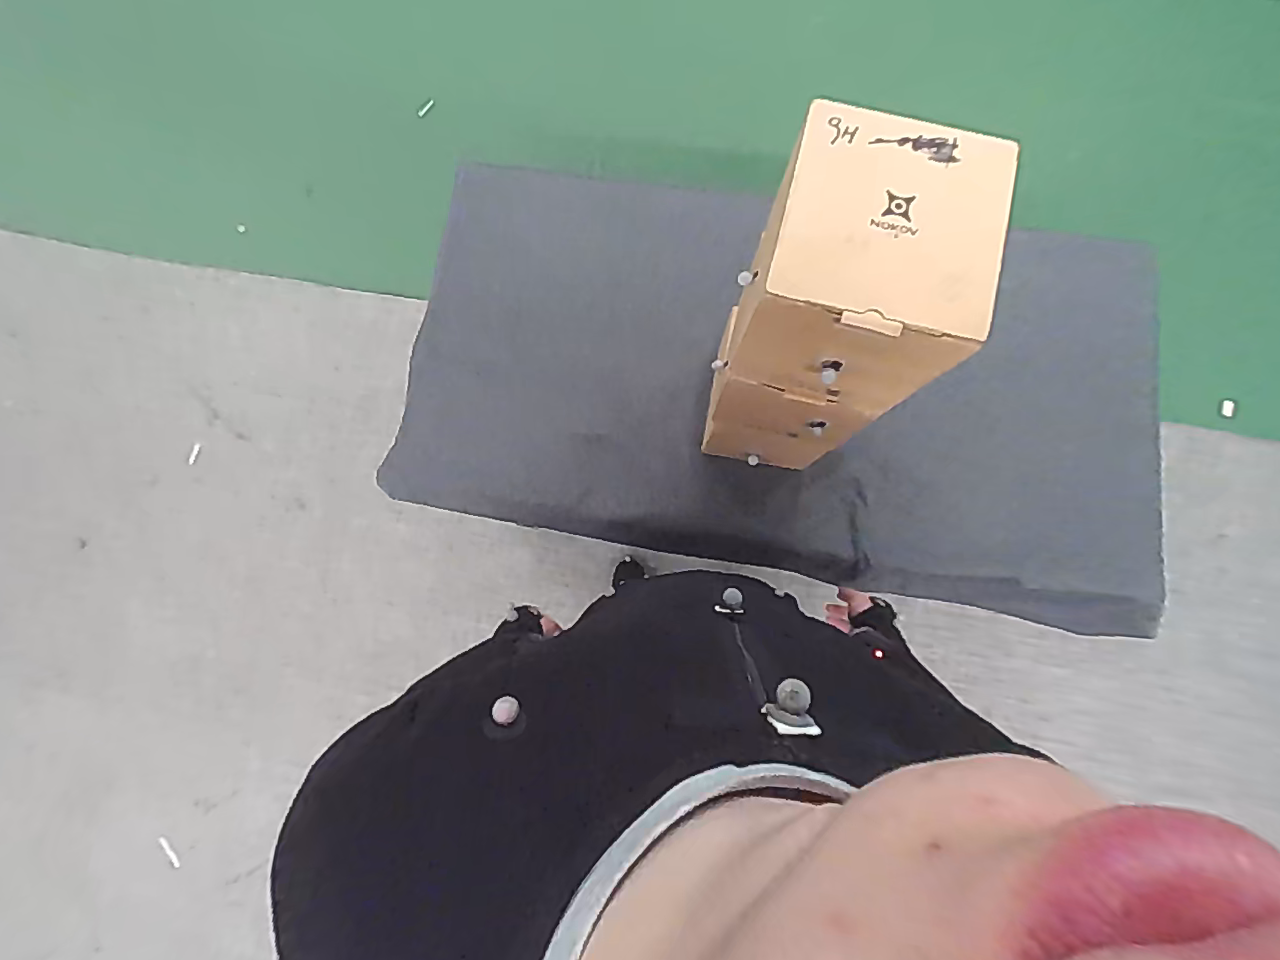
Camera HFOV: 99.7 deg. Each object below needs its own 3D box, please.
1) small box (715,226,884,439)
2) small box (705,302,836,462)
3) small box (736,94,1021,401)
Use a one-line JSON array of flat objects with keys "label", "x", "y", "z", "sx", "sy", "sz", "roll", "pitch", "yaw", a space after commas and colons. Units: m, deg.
[{"label": "small box", "x": 0.191, "y": -0.161, "z": 0.647, "sx": 0.168, "sy": 0.176, "sz": 0.179, "roll": 14, "pitch": 80, "yaw": 2}, {"label": "small box", "x": 0.196, "y": -0.138, "z": 0.807, "sx": 0.168, "sy": 0.176, "sz": 0.179, "roll": 11, "pitch": 82, "yaw": 3}, {"label": "small box", "x": 0.192, "y": -0.187, "z": 0.486, "sx": 0.168, "sy": 0.176, "sz": 0.179, "roll": 16, "pitch": 82, "yaw": 3}]
